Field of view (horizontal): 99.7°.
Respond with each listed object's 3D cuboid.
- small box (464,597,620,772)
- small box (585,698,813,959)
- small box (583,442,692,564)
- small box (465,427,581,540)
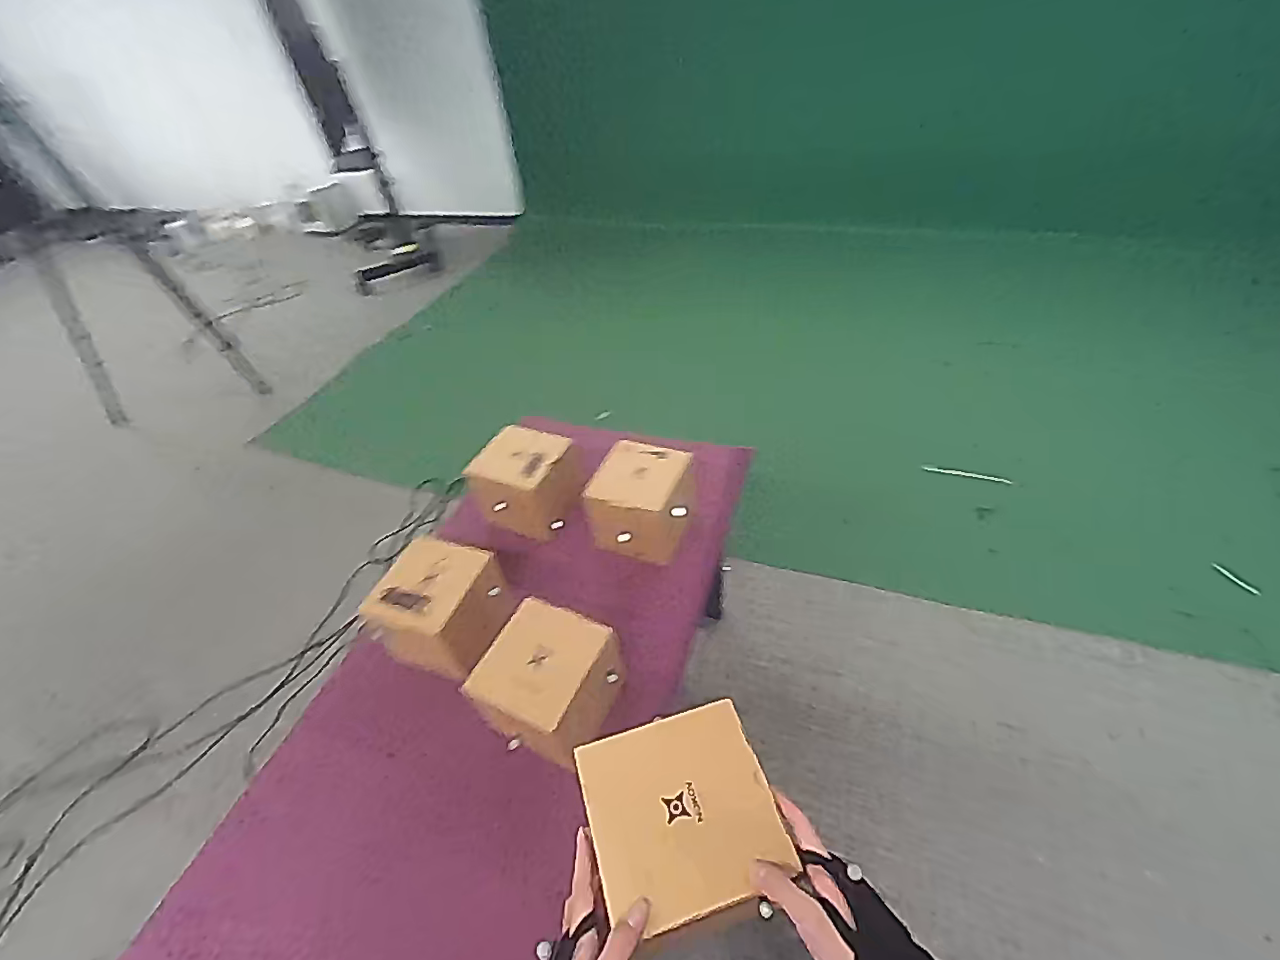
[{"bbox_3d":[-0.143,0.327,0.869,0.168,0.176,0.179,15,49,24],"label":"small box"},{"bbox_3d":[0.051,0.362,0.562,0.179,0.176,0.168,-12,44,-10],"label":"small box"},{"bbox_3d":[0.006,0.049,1.131,0.168,0.176,0.179,13,49,22],"label":"small box"},{"bbox_3d":[-0.251,0.010,1.211,0.179,0.176,0.168,14,48,22],"label":"small box"}]
